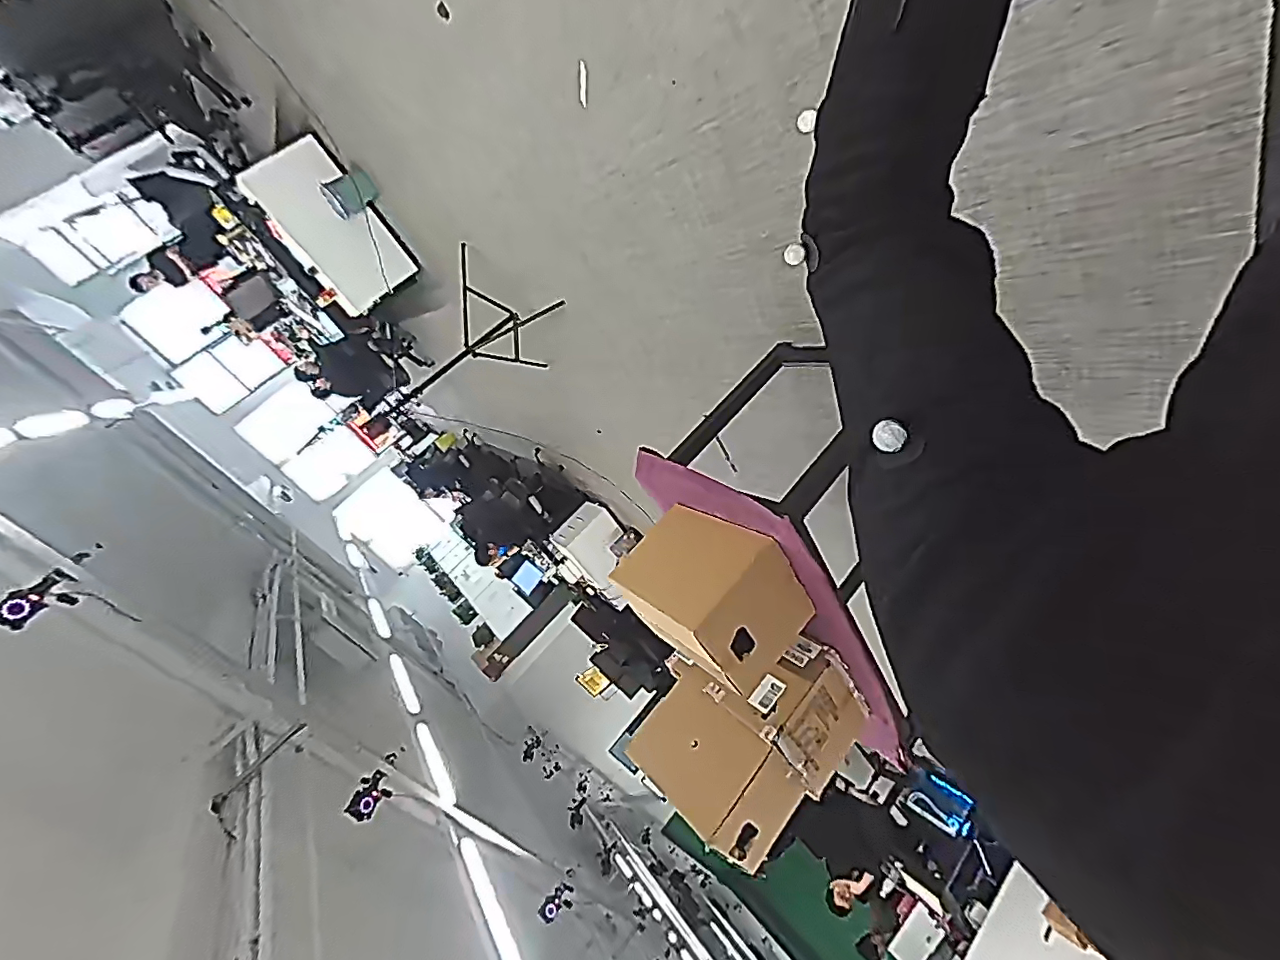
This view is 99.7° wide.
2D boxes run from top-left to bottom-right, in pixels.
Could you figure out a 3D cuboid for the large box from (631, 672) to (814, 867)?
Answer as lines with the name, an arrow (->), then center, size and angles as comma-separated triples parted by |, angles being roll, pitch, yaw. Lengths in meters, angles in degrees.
large box -> 0.252, 0.878, 1.689 | 0.408, 0.320, 0.320 | 19, 154, 54
